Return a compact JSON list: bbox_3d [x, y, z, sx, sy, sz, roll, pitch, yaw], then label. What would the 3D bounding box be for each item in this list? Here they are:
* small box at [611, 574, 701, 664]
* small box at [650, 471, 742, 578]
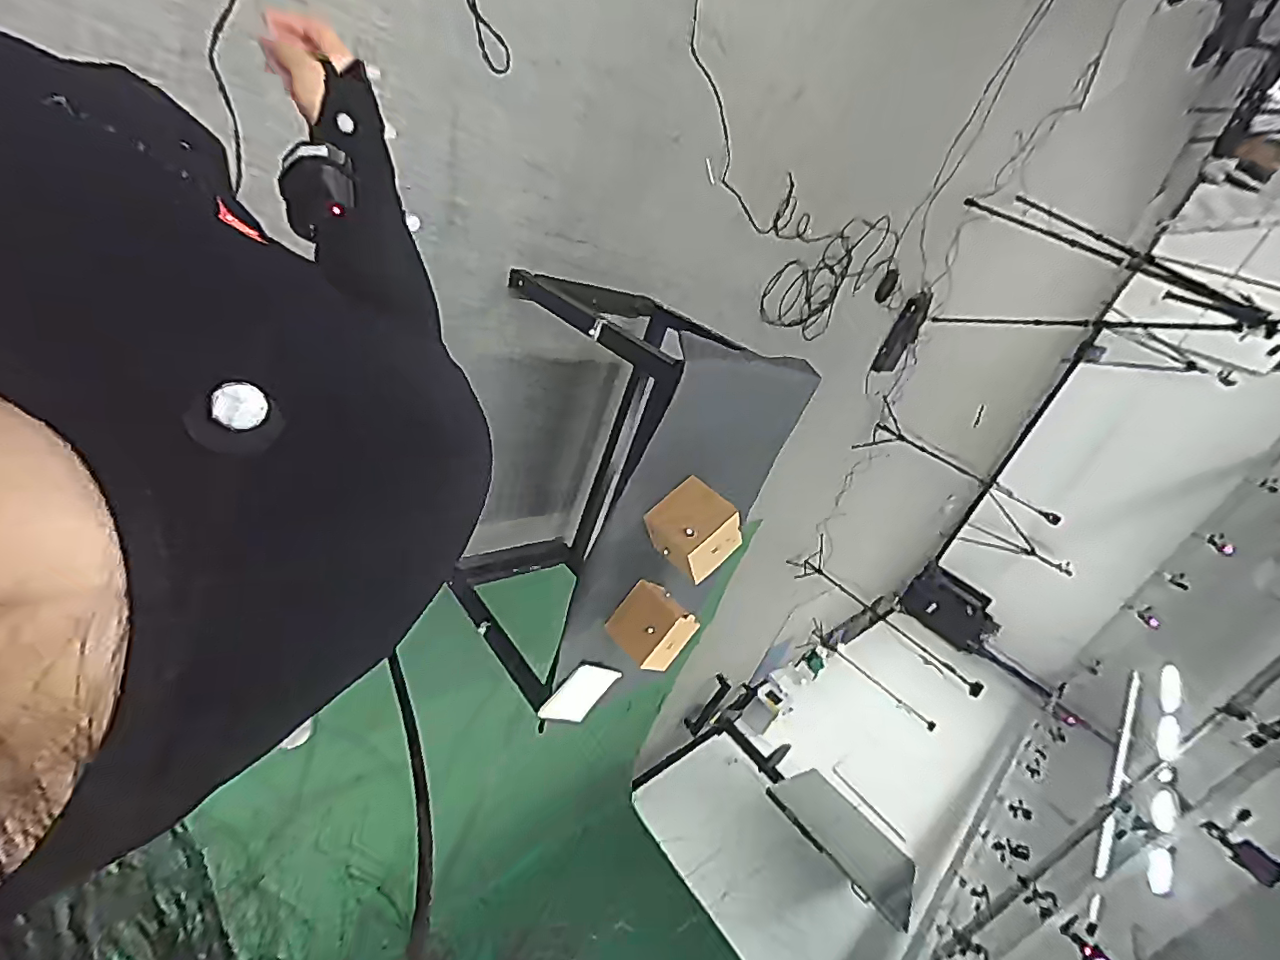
[{"bbox_3d":[0.039,0.401,1.555,0.179,0.176,0.168,-52,146,1],"label":"small box"},{"bbox_3d":[0.141,0.112,1.399,0.179,0.176,0.168,-40,145,-15],"label":"small box"}]
